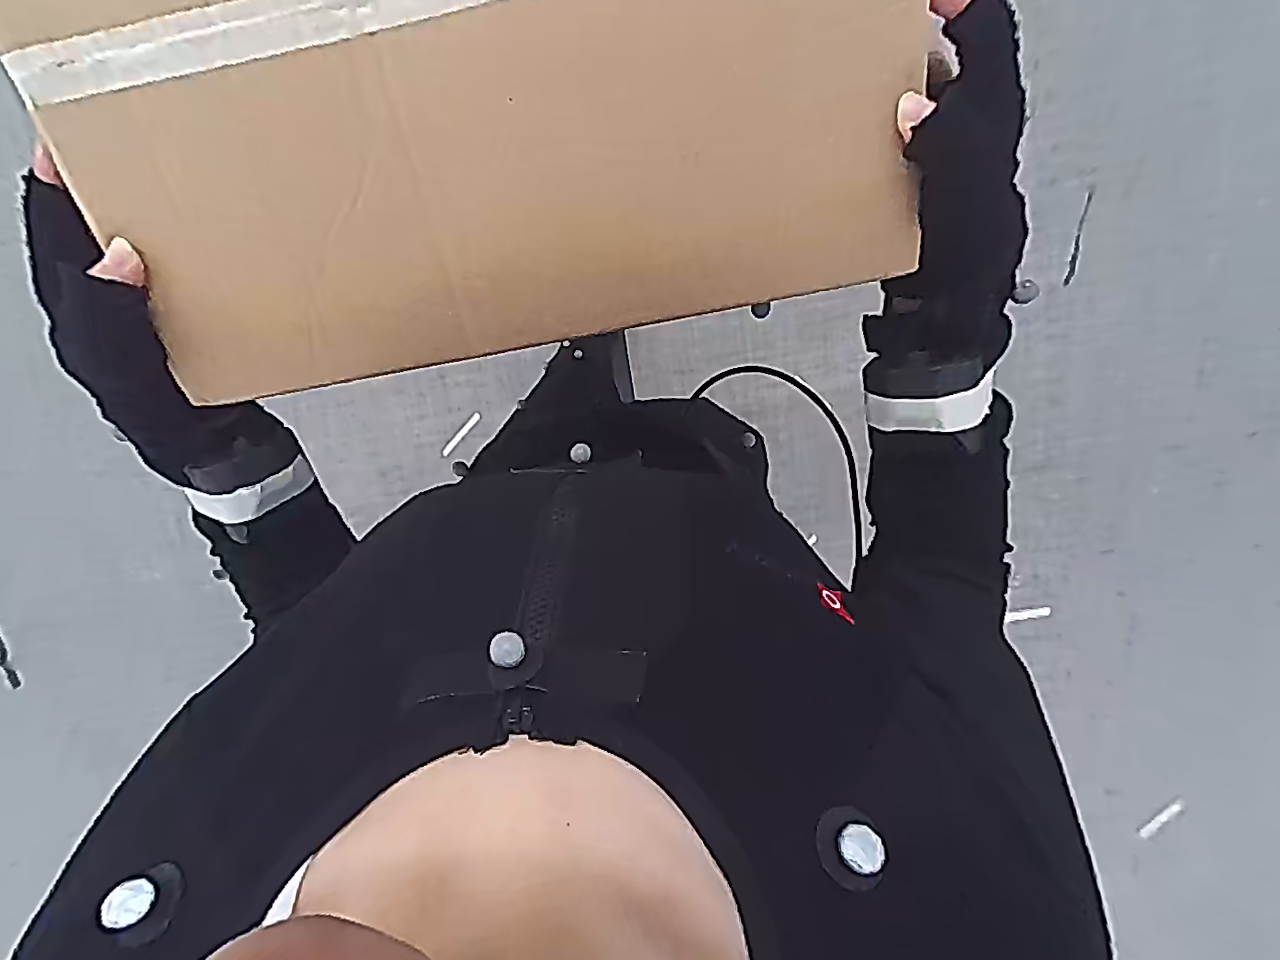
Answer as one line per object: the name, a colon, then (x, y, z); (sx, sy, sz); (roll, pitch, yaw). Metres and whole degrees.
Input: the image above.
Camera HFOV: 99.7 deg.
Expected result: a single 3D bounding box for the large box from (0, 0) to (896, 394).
large box: (-0.086, -0.284, 0.378); (0.408, 0.320, 0.320); (-10, 113, 4)
